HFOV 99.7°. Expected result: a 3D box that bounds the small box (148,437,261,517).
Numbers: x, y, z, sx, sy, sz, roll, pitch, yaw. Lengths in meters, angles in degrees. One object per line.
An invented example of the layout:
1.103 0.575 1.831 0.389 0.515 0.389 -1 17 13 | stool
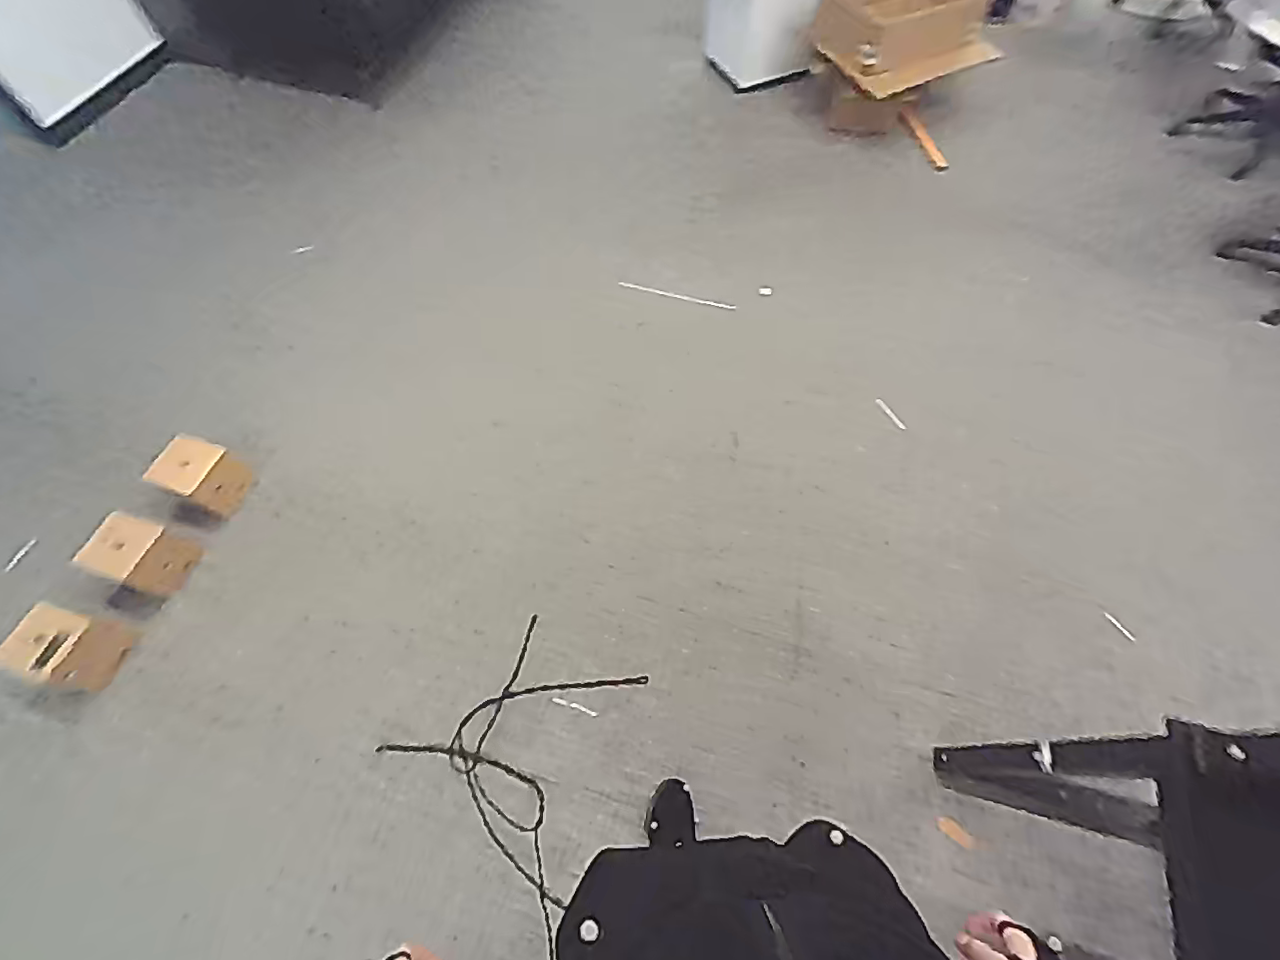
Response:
-1.336 -0.003 1.675 0.179 0.176 0.168 16 64 9 | small box

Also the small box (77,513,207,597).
-1.416 0.222 1.554 0.179 0.176 0.168 16 63 9 | small box
